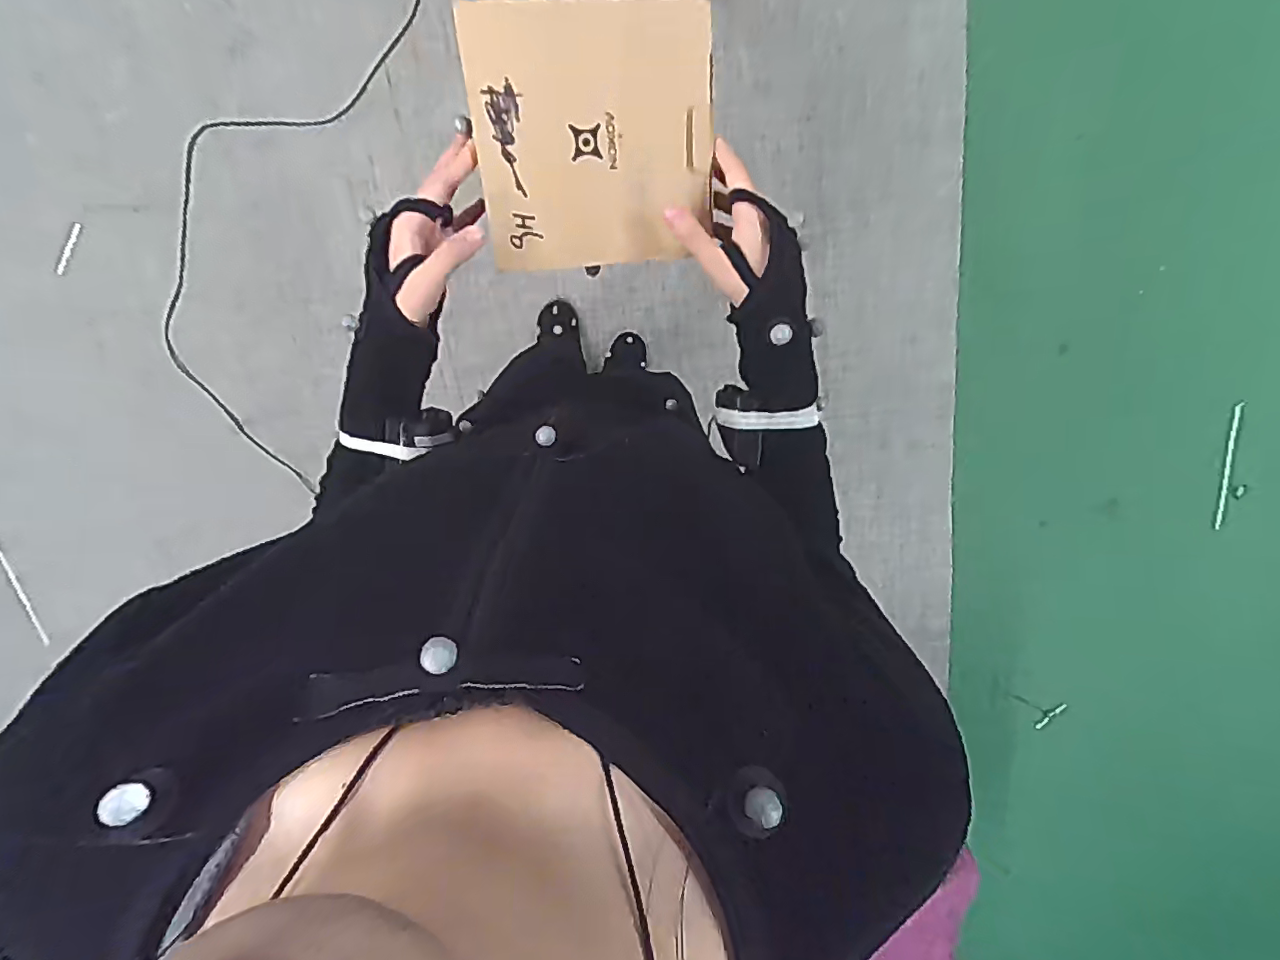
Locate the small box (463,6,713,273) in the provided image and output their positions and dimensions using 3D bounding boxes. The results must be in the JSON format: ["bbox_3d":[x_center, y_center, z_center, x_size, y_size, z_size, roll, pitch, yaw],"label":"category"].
[{"bbox_3d":[-0.046,-0.275,0.472,0.179,0.176,0.168,-6,113,-9],"label":"small box"}]
